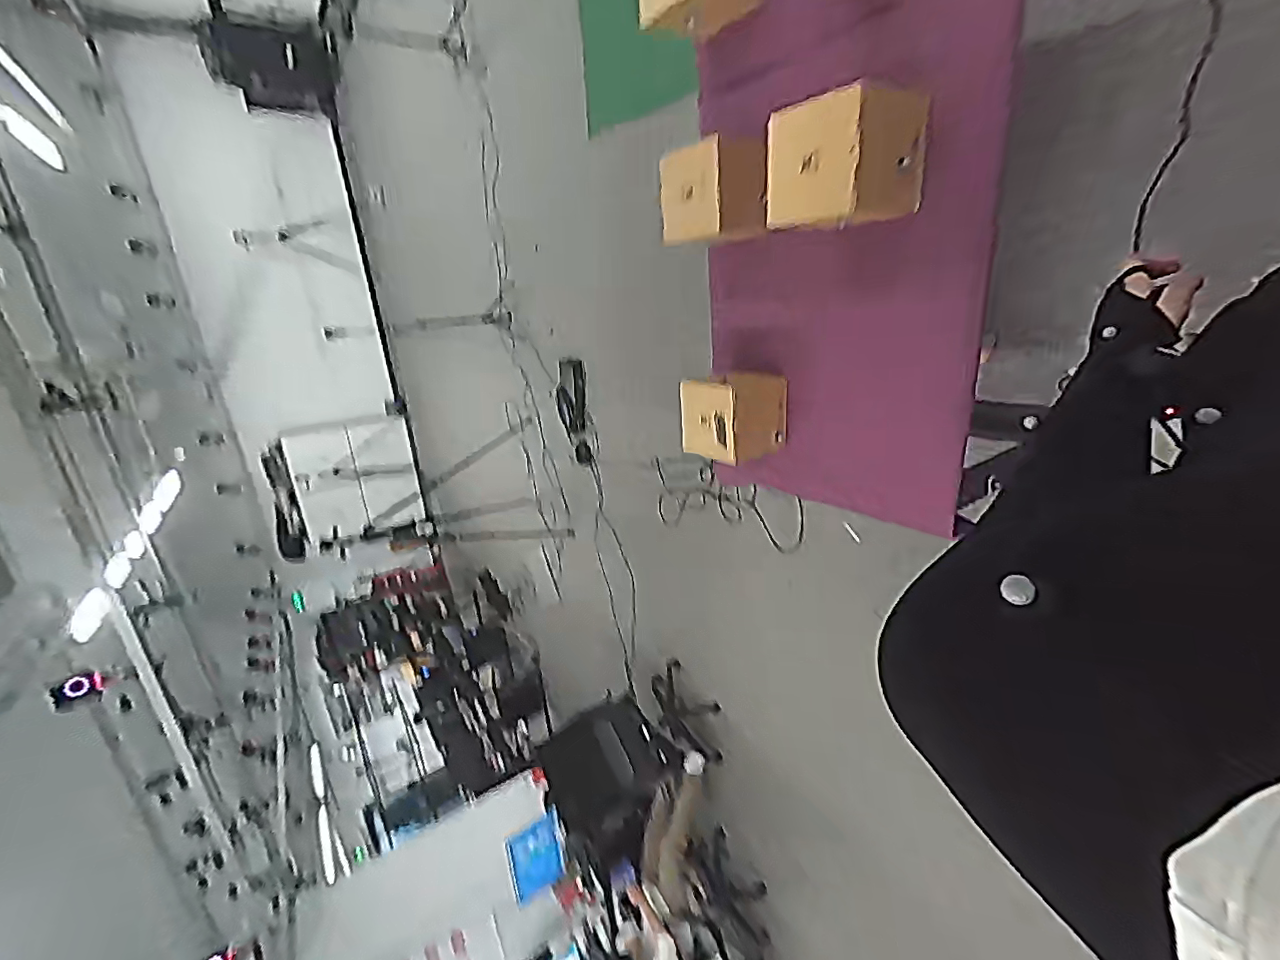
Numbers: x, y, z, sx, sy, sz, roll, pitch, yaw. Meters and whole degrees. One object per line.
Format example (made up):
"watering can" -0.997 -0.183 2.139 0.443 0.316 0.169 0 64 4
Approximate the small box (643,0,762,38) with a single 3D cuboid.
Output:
"small box" 0.117 -0.970 1.015 0.179 0.176 0.168 20 123 52

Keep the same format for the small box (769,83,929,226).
"small box" 0.336 -0.517 0.887 0.179 0.176 0.168 24 123 53

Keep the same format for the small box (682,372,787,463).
"small box" 0.220 -0.152 1.244 0.179 0.176 0.168 21 121 52

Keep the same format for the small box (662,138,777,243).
"small box" 0.167 -0.591 1.125 0.179 0.176 0.168 21 122 51
